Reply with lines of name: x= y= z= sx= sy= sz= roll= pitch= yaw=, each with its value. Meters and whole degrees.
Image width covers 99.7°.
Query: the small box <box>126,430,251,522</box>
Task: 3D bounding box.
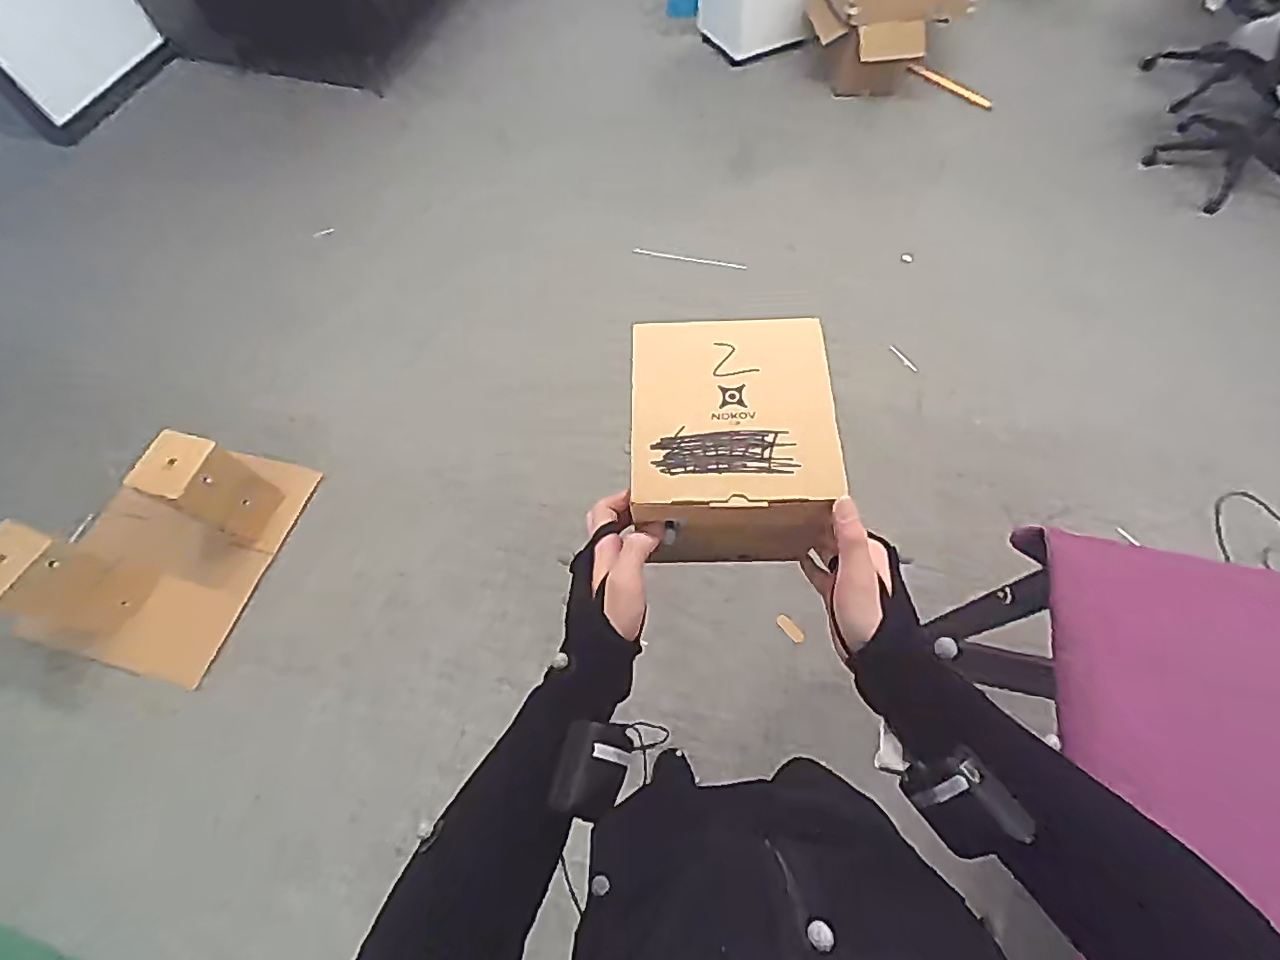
small box: x=-1.222 y=-0.007 z=1.486 sx=0.168 sy=0.176 sz=0.179 roll=14 pitch=66 yaw=6

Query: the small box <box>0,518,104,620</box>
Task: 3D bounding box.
small box: x=-1.524 y=0.229 z=1.361 sx=0.168 sy=0.176 sz=0.179 roll=20 pitch=65 yaw=11

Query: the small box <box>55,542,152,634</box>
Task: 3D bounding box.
small box: x=-1.530 y=0.305 z=1.509 sx=0.168 sy=0.176 sz=0.179 roll=21 pitch=65 yaw=11

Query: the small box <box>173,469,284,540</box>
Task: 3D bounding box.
small box: x=-1.228 y=0.063 z=1.631 sx=0.168 sy=0.176 sz=0.179 roll=14 pitch=65 yaw=7
